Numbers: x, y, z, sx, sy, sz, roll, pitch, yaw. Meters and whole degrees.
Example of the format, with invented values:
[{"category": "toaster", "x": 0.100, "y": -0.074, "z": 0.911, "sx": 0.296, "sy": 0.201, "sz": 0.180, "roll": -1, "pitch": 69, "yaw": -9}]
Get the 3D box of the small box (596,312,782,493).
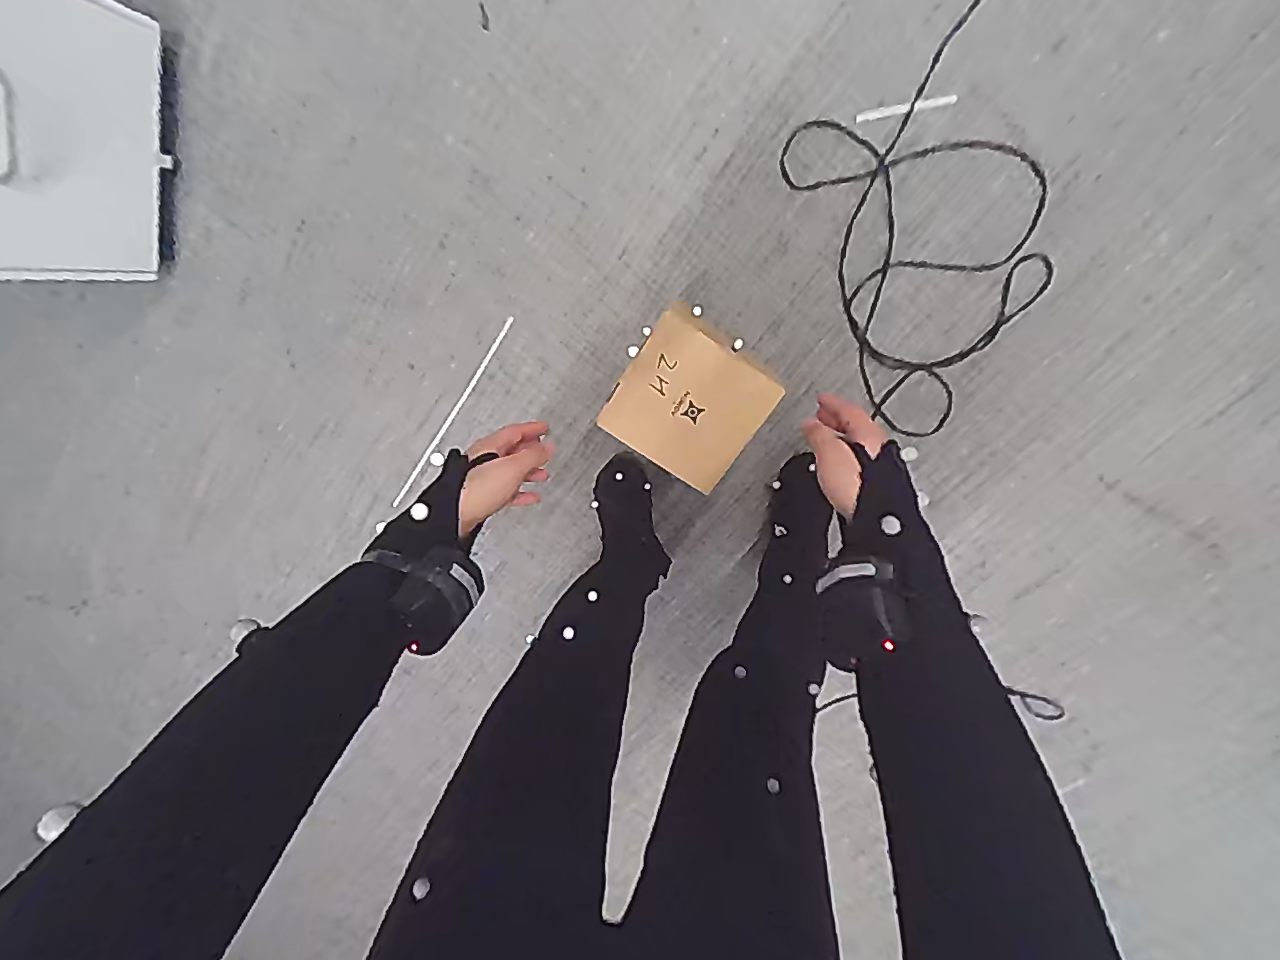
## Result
[{"category": "small box", "x": 0.067, "y": -0.117, "z": 0.741, "sx": 0.179, "sy": 0.176, "sz": 0.168, "roll": 33, "pitch": 110, "yaw": -5}]
